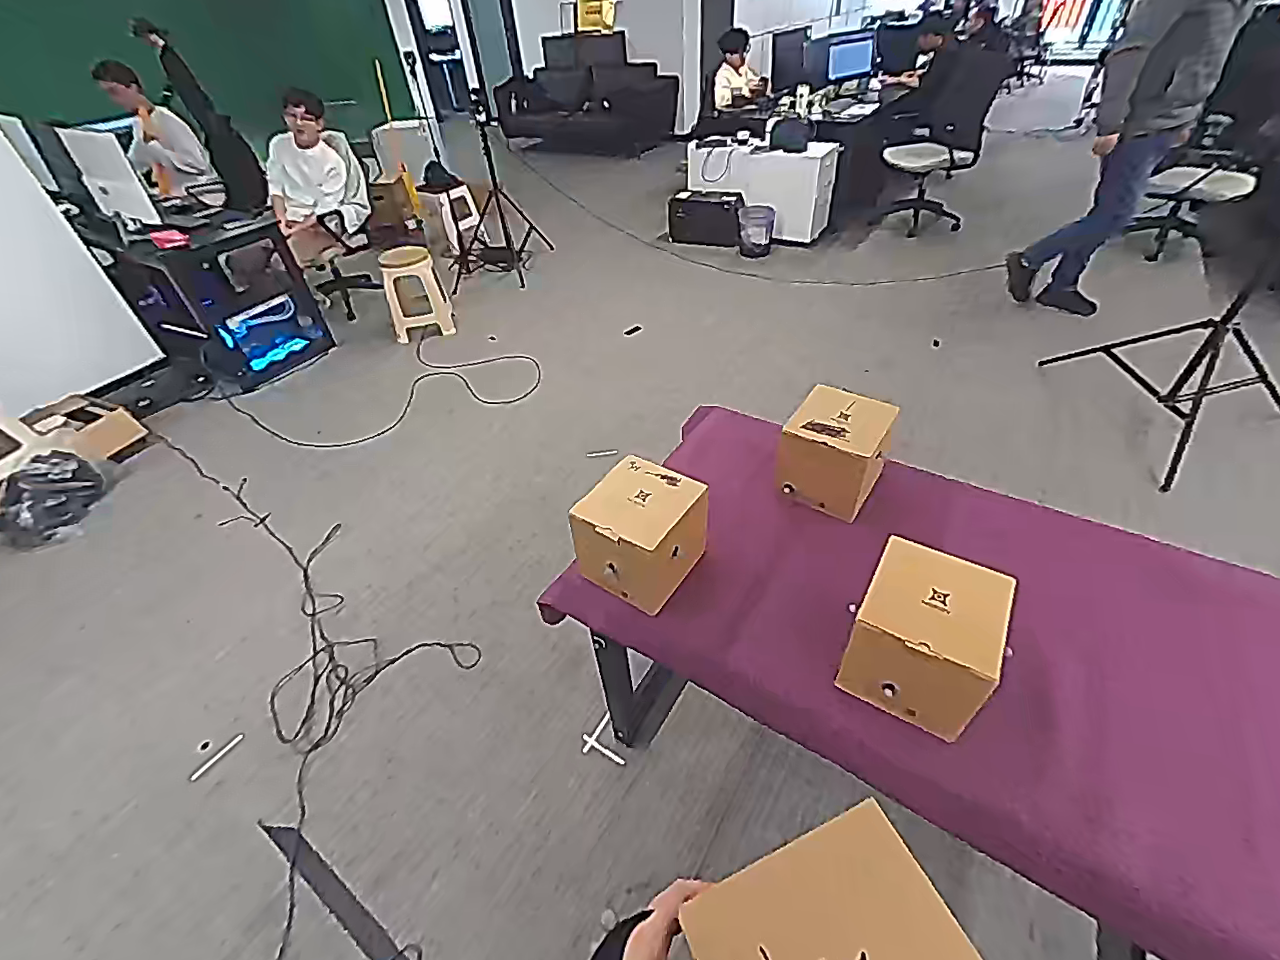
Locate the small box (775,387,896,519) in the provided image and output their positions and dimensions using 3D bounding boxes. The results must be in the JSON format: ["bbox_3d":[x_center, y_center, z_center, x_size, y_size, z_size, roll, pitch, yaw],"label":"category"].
[{"bbox_3d":[0.379,-0.052,1.068,0.168,0.176,0.179,24,50,28],"label":"small box"}]

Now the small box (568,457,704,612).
[{"bbox_3d":[0.002,0.096,0.943,0.168,0.176,0.179,23,49,27],"label":"small box"}]

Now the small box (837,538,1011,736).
[{"bbox_3d":[0.397,0.221,0.771,0.168,0.176,0.179,21,47,26],"label":"small box"}]
